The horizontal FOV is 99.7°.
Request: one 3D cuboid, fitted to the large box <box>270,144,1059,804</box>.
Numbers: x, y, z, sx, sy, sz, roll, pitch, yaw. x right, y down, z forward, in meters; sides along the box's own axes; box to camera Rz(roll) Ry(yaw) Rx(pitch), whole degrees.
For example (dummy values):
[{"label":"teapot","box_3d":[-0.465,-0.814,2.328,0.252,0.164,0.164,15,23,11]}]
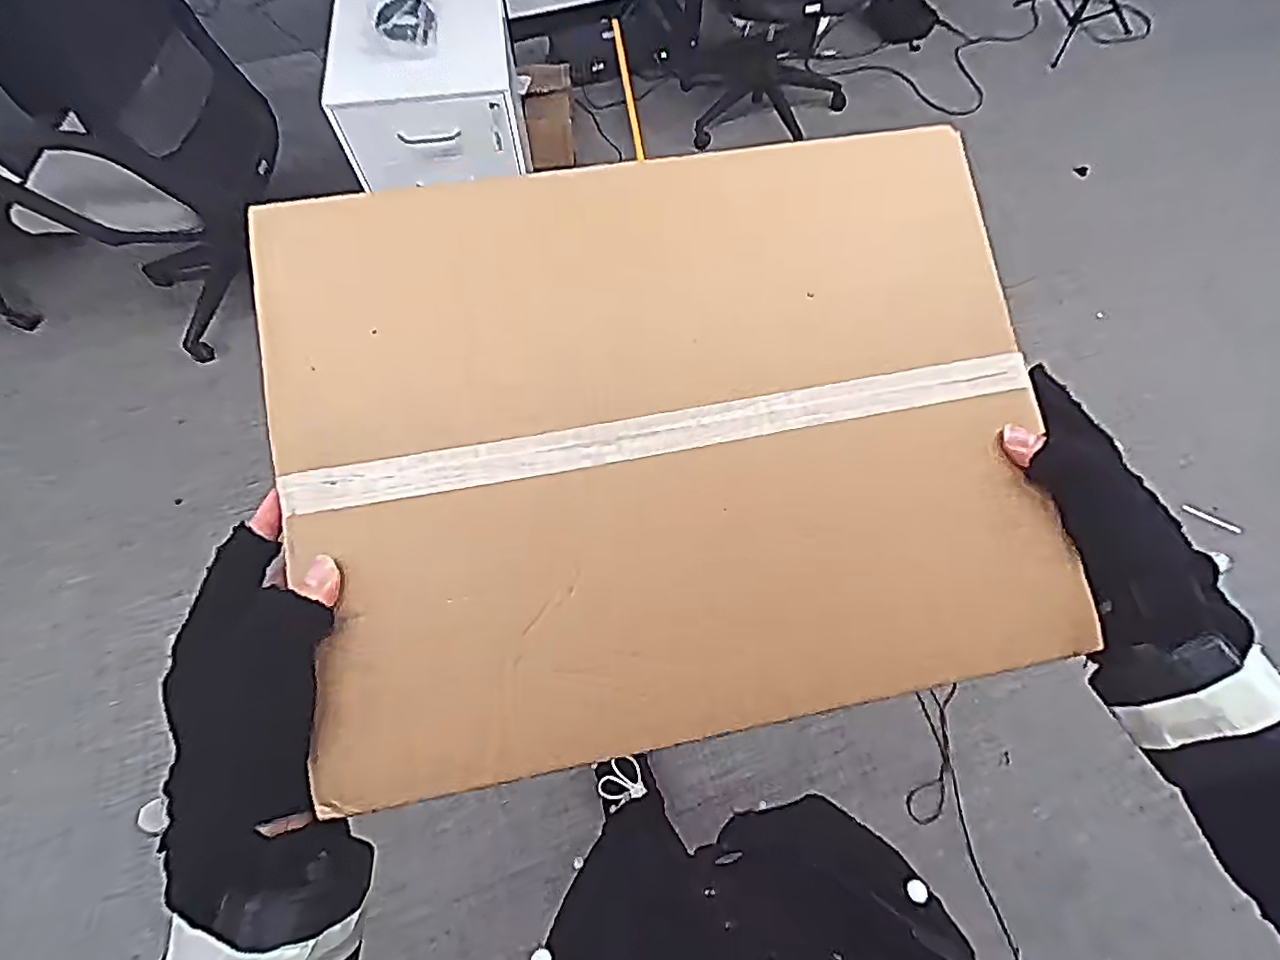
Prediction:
[{"label":"large box","box_3d":[0.007,-0.007,0.447,0.408,0.320,0.320,-10,83,-6]}]
